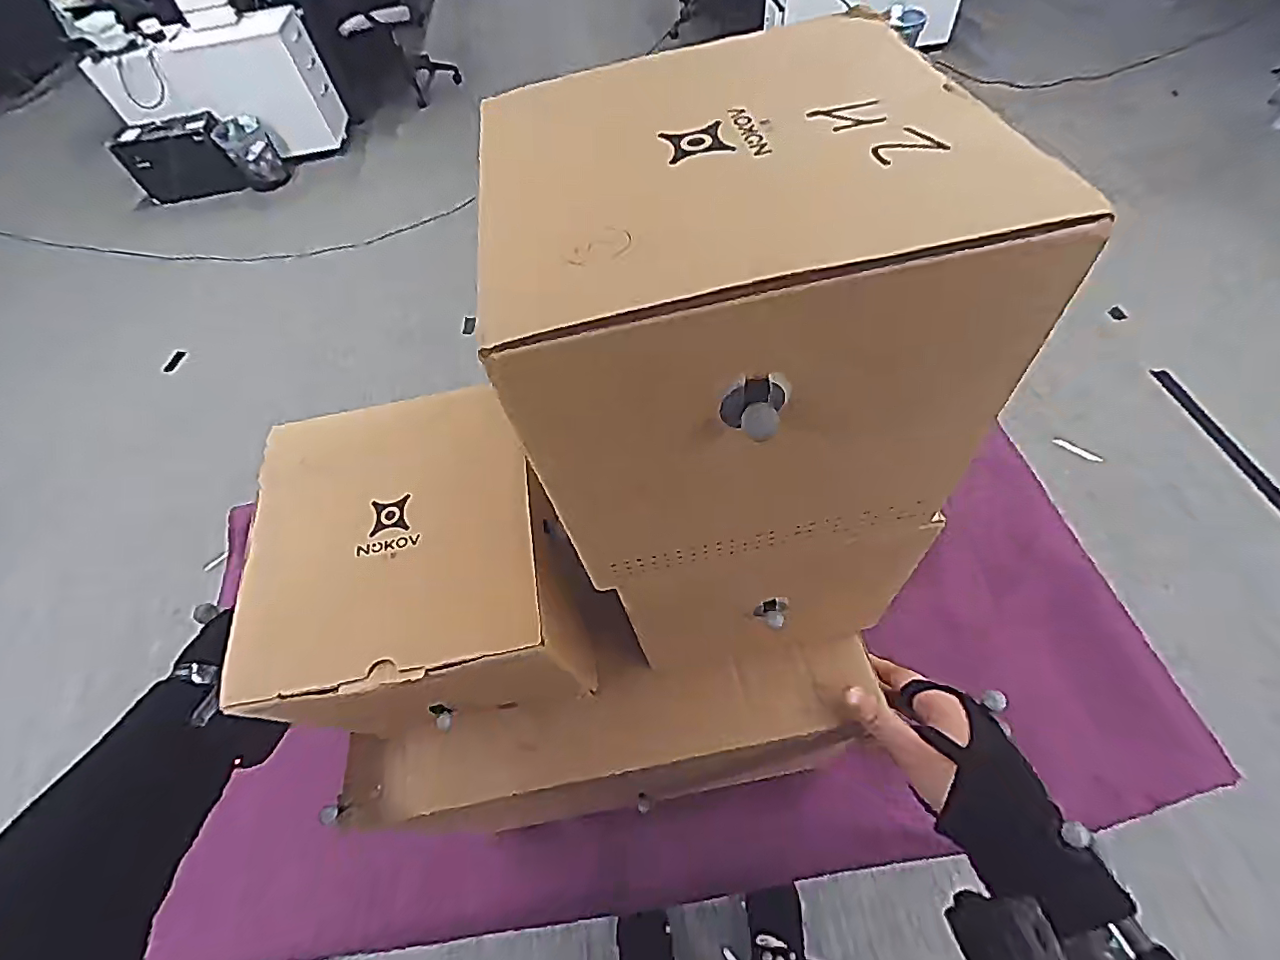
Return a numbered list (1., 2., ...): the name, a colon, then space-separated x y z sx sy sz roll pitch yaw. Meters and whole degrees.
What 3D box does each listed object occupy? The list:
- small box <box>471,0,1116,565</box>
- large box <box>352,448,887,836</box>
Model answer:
1. small box: 0.039 -0.076 0.252 0.179 0.176 0.168 -11 56 1
2. large box: -0.022 0.165 0.591 0.408 0.320 0.320 -12 55 0
